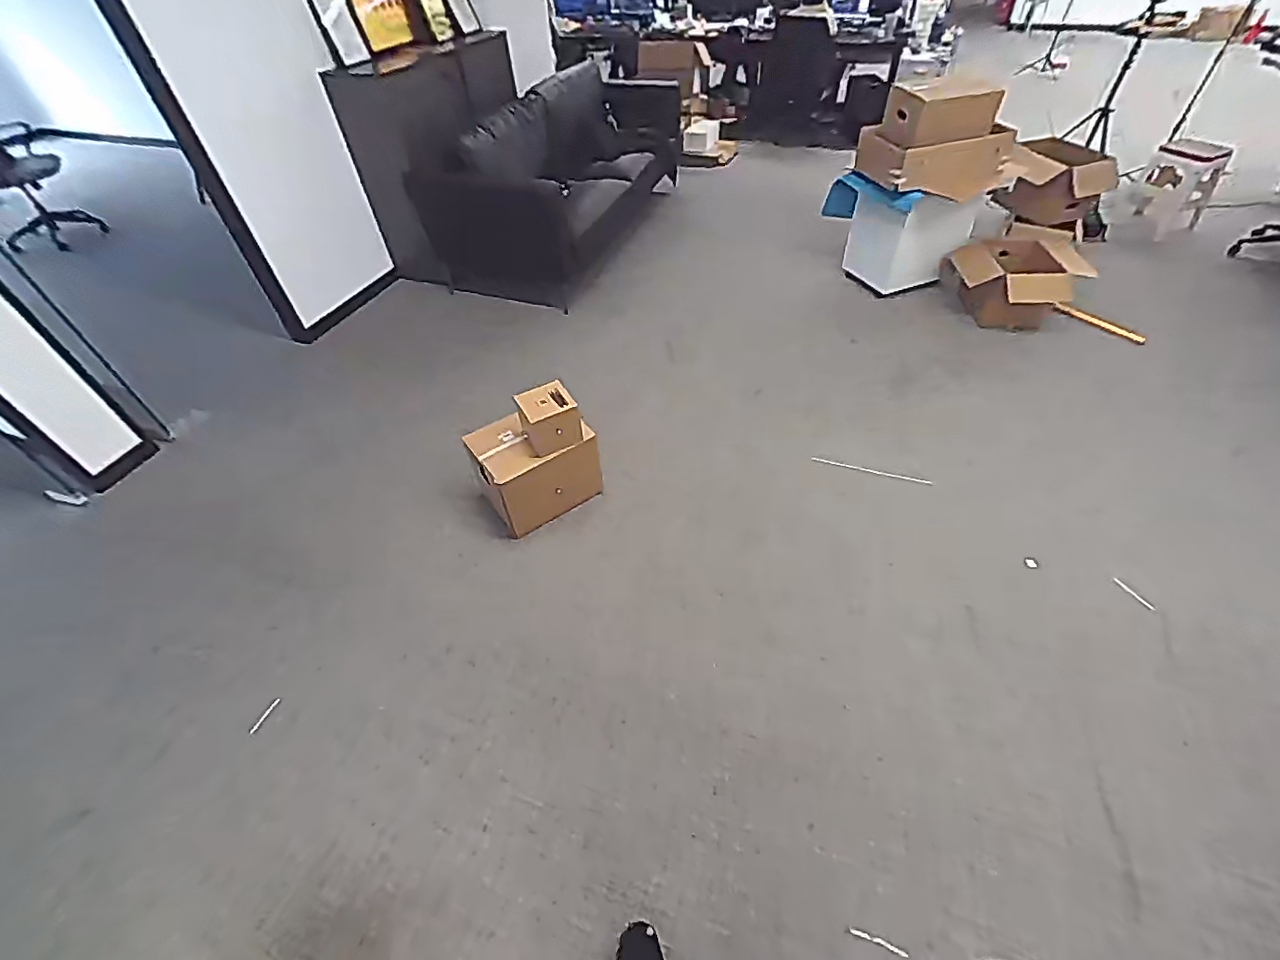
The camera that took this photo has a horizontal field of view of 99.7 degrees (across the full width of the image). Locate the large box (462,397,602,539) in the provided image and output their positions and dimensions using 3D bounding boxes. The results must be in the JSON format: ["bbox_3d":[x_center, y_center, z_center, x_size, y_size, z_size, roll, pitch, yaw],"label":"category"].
[{"bbox_3d":[-0.403,-0.050,2.093,0.408,0.320,0.320,-31,52,-22],"label":"large box"}]
